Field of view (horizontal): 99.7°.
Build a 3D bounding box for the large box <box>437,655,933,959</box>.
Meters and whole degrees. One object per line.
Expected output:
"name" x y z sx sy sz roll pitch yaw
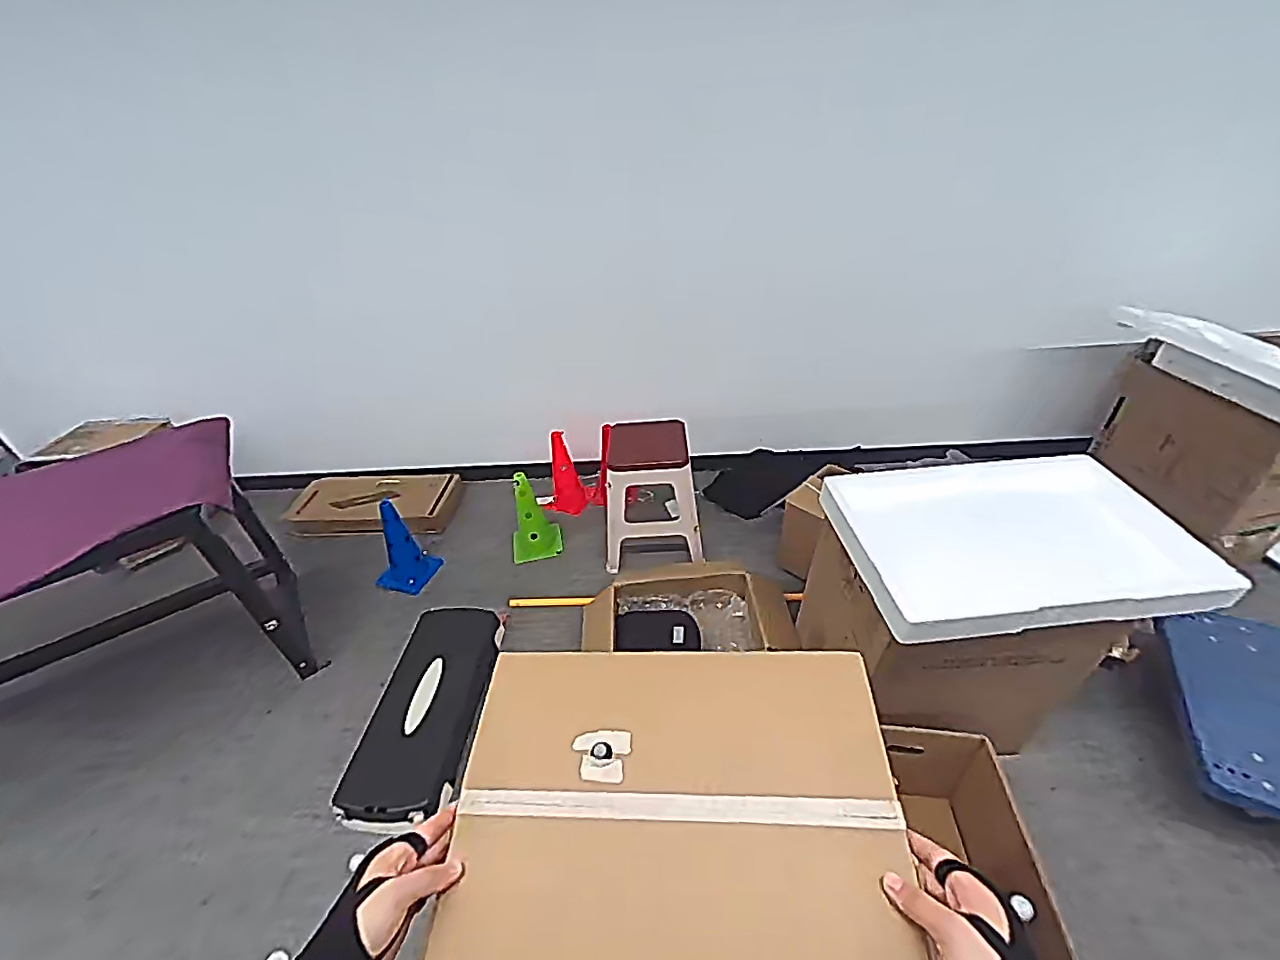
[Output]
"large box" 0.052 0.418 0.605 0.408 0.320 0.320 -4 42 7
